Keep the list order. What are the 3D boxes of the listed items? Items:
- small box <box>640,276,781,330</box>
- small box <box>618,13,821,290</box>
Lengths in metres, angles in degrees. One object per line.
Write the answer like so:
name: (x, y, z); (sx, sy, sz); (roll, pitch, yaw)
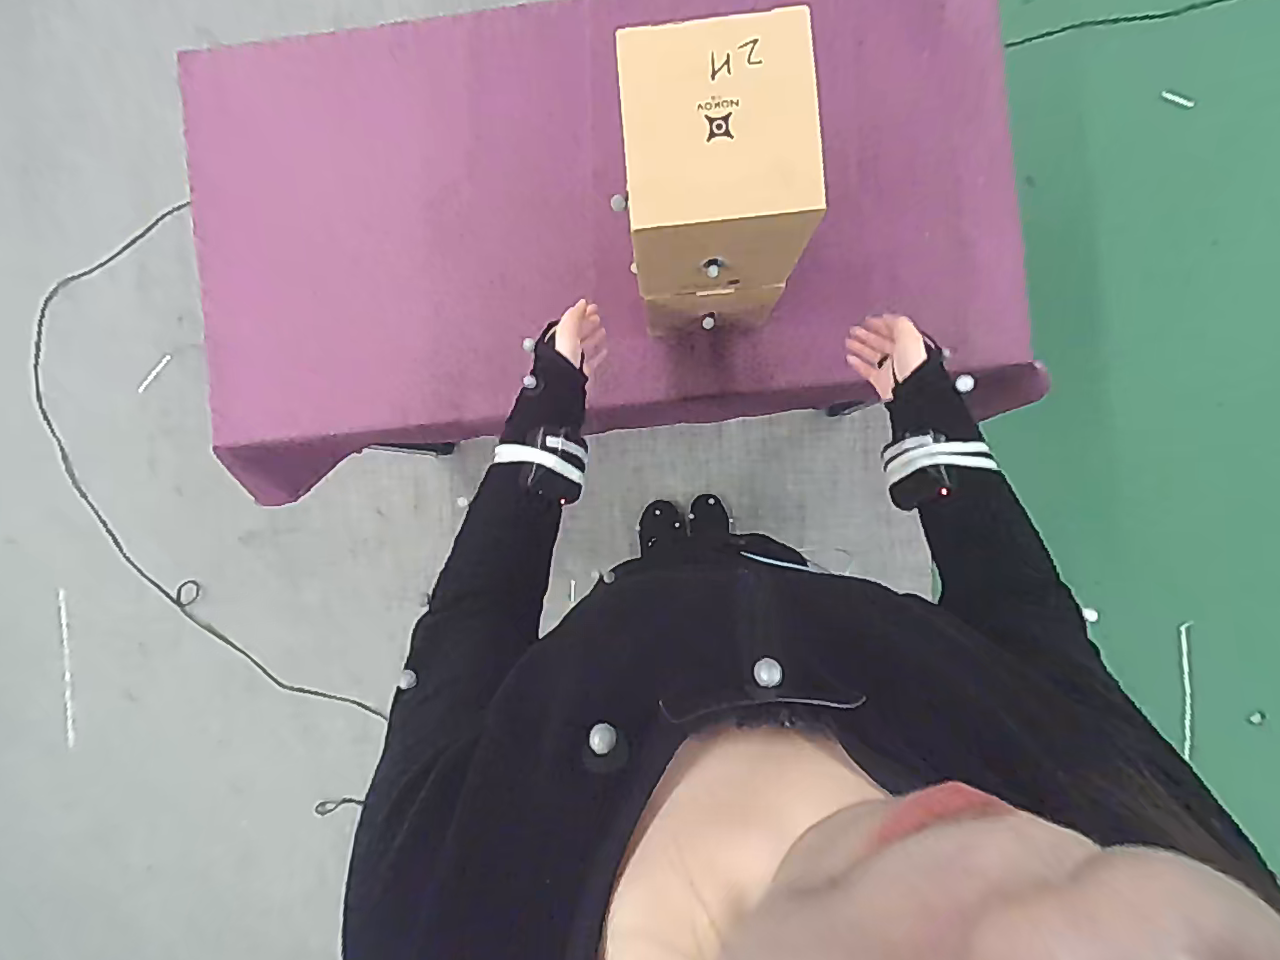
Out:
small box: (0.082, -0.301, 0.703); (0.168, 0.176, 0.179); (-4, 90, 2)
small box: (0.071, -0.301, 0.538); (0.168, 0.176, 0.179); (-4, 90, 2)
